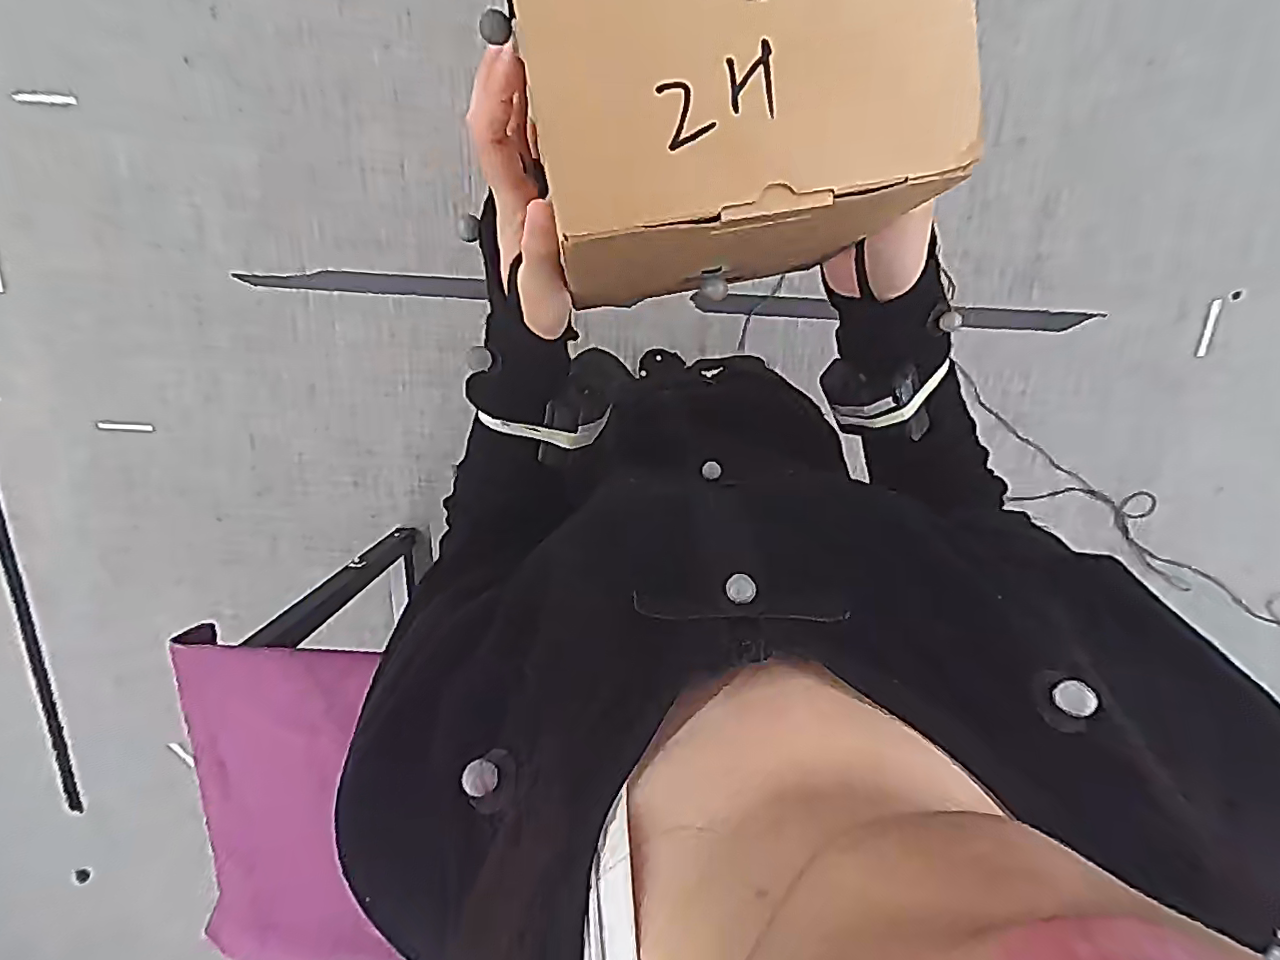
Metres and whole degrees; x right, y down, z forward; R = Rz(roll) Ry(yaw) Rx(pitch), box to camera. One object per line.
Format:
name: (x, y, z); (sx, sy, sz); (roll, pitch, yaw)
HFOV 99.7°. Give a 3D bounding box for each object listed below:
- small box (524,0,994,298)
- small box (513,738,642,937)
small box: (0.034, -0.204, 0.267); (0.168, 0.176, 0.179); (-11, 100, -4)
small box: (-0.085, 0.515, 0.795); (0.168, 0.176, 0.179); (5, 104, -2)
